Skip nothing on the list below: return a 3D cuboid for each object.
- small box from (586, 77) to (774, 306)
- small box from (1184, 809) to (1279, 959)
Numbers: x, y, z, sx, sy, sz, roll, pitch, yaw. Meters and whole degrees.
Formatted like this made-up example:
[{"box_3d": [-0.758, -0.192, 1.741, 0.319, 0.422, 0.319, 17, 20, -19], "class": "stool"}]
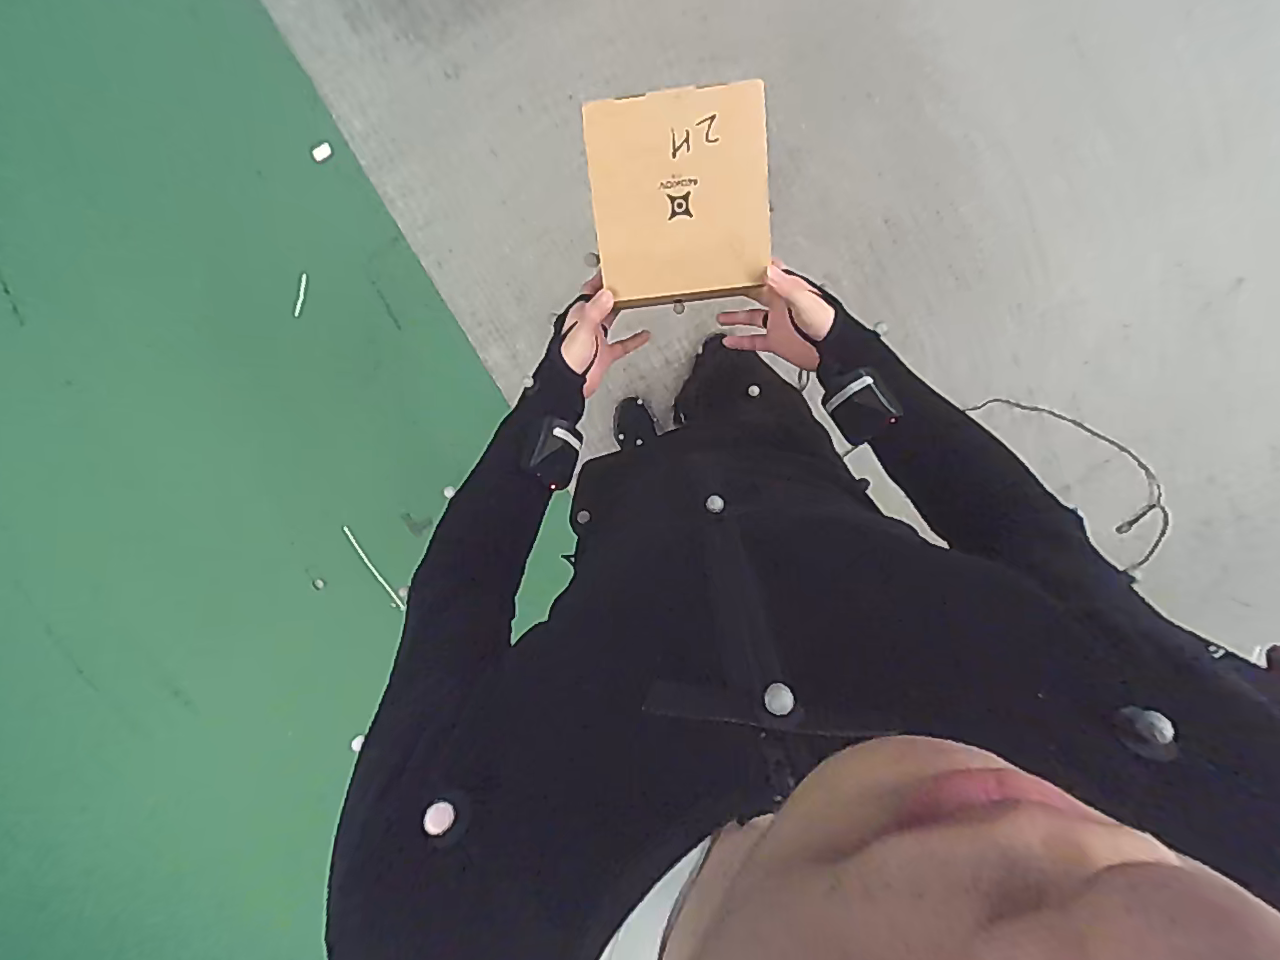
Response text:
[{"box_3d": [0.042, -0.281, 0.570, 0.168, 0.176, 0.179, -5, 104, 2], "class": "small box"}, {"box_3d": [1.158, 0.748, 0.974, 0.168, 0.176, 0.179, -31, 101, 5], "class": "small box"}]
